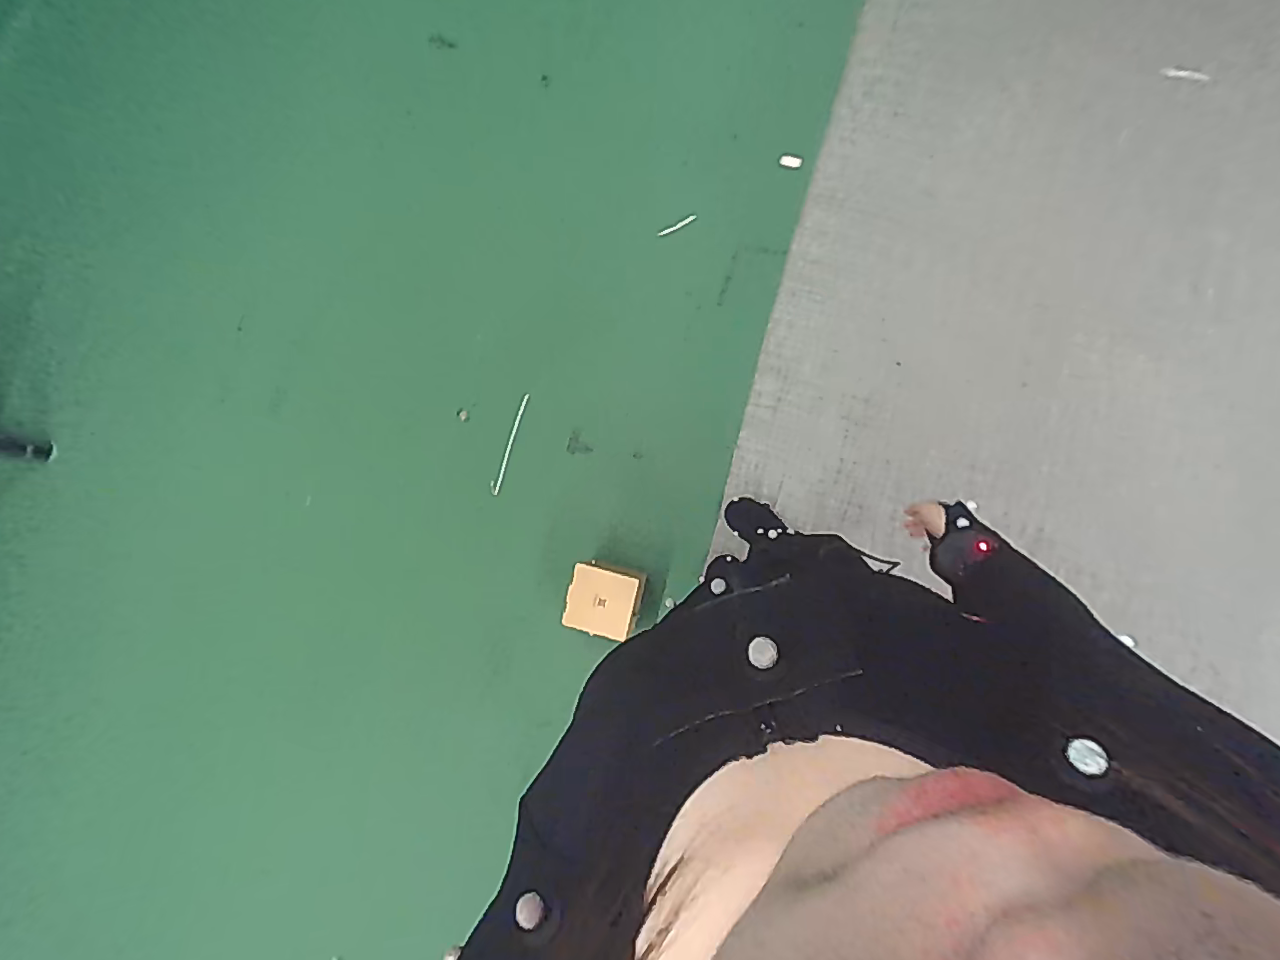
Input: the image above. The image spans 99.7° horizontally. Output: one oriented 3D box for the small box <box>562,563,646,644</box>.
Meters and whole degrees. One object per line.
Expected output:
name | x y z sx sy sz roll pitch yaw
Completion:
small box | -0.089 0.325 1.466 0.179 0.176 0.168 13 88 10
